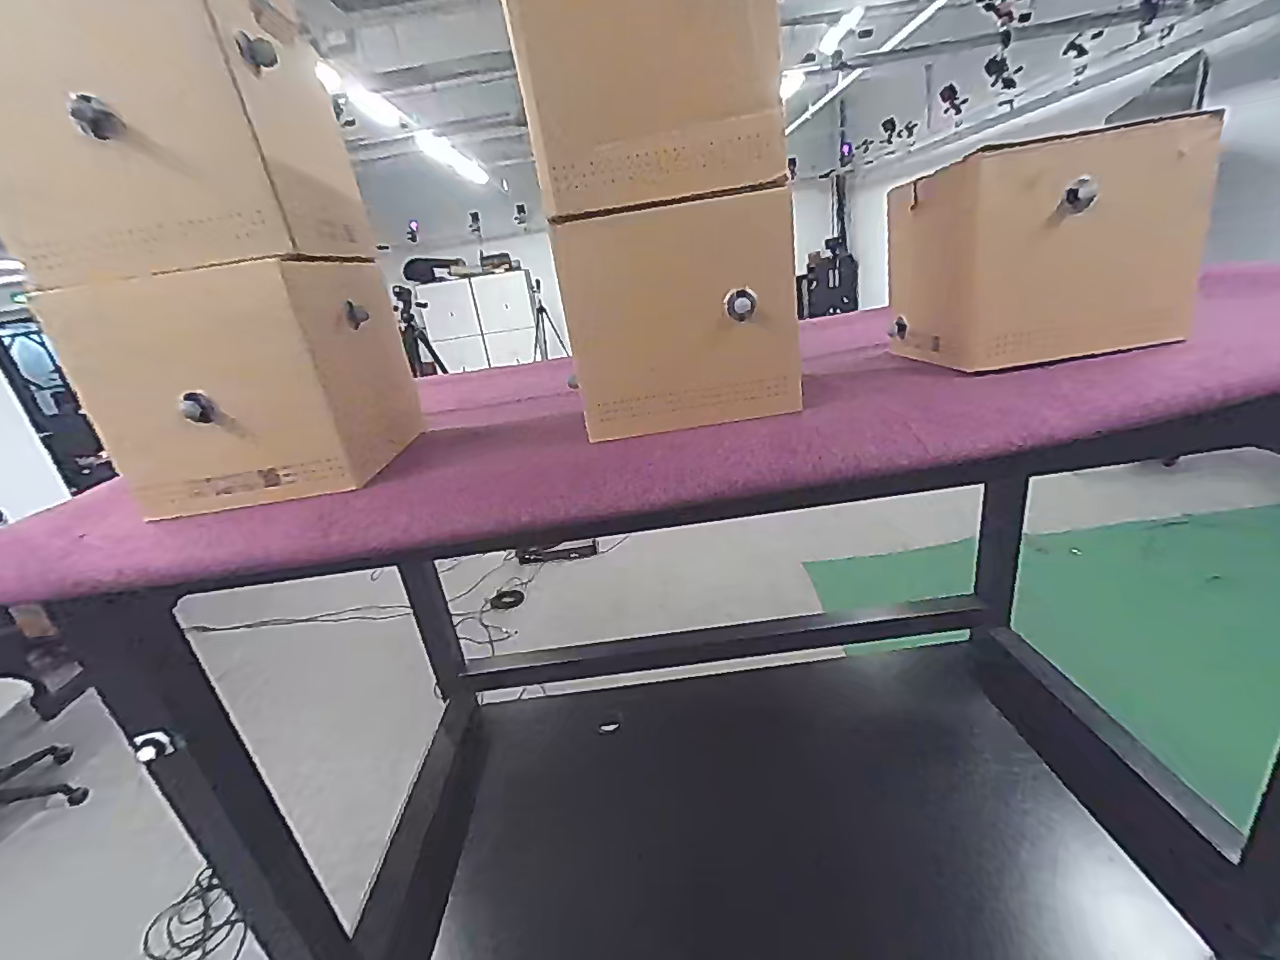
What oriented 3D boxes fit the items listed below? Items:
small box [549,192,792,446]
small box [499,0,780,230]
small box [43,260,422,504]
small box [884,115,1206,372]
[{"bbox_3d":[0.029,-0.141,0.484,0.179,0.176,0.168,-10,20,1],"label":"small box"},{"bbox_3d":[-0.001,-0.293,0.429,0.179,0.176,0.168,-9,20,-1],"label":"small box"},{"bbox_3d":[-0.308,-0.085,0.462,0.168,0.176,0.179,-8,21,-1],"label":"small box"},{"bbox_3d":[0.347,-0.200,0.499,0.179,0.176,0.168,-8,18,3],"label":"small box"}]
